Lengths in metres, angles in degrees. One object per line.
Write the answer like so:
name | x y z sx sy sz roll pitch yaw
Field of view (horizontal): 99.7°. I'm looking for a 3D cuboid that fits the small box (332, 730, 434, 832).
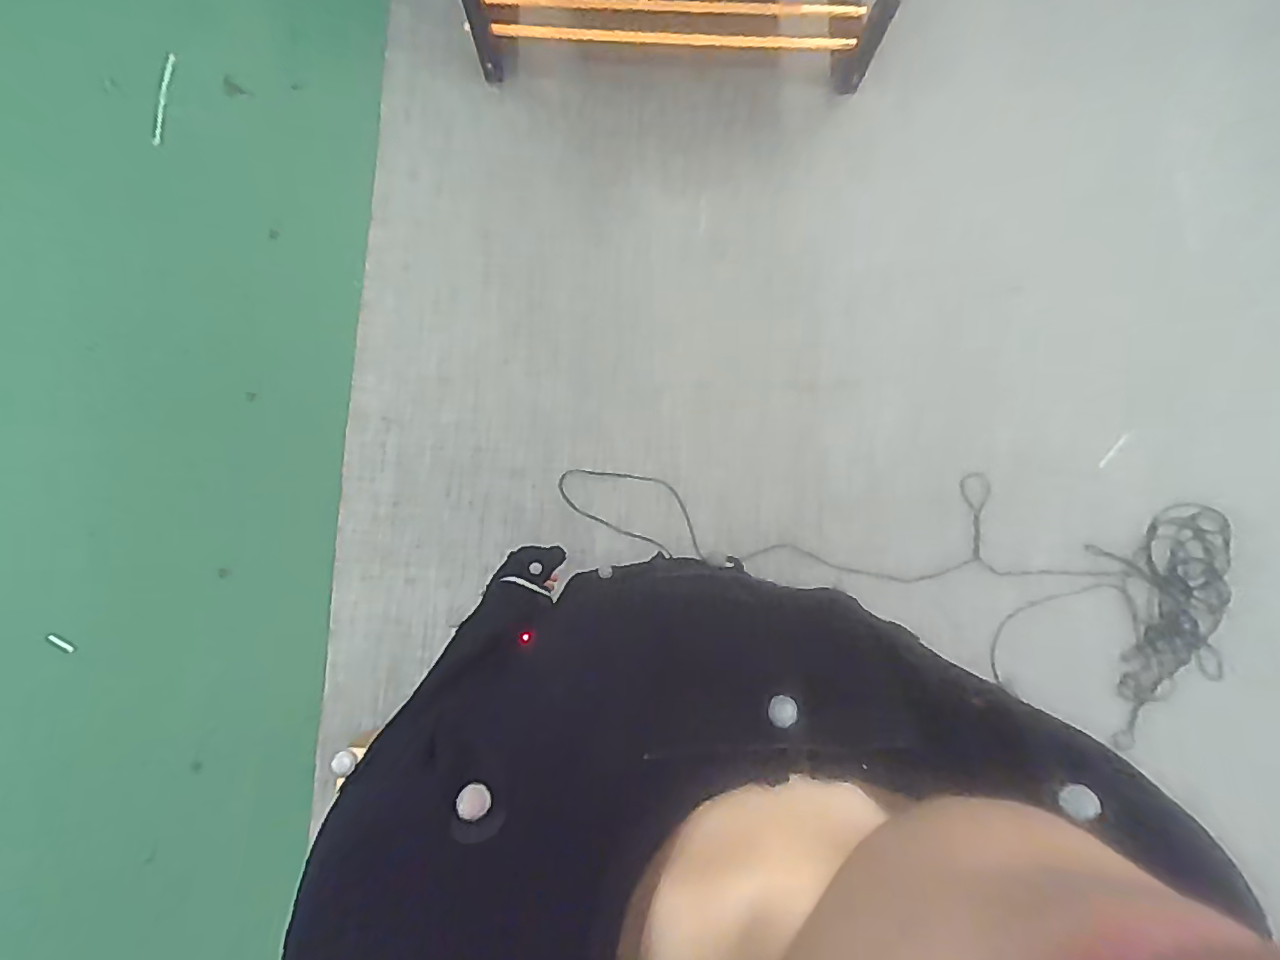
small box | -0.612 0.721 1.311 0.168 0.176 0.179 2 81 0
